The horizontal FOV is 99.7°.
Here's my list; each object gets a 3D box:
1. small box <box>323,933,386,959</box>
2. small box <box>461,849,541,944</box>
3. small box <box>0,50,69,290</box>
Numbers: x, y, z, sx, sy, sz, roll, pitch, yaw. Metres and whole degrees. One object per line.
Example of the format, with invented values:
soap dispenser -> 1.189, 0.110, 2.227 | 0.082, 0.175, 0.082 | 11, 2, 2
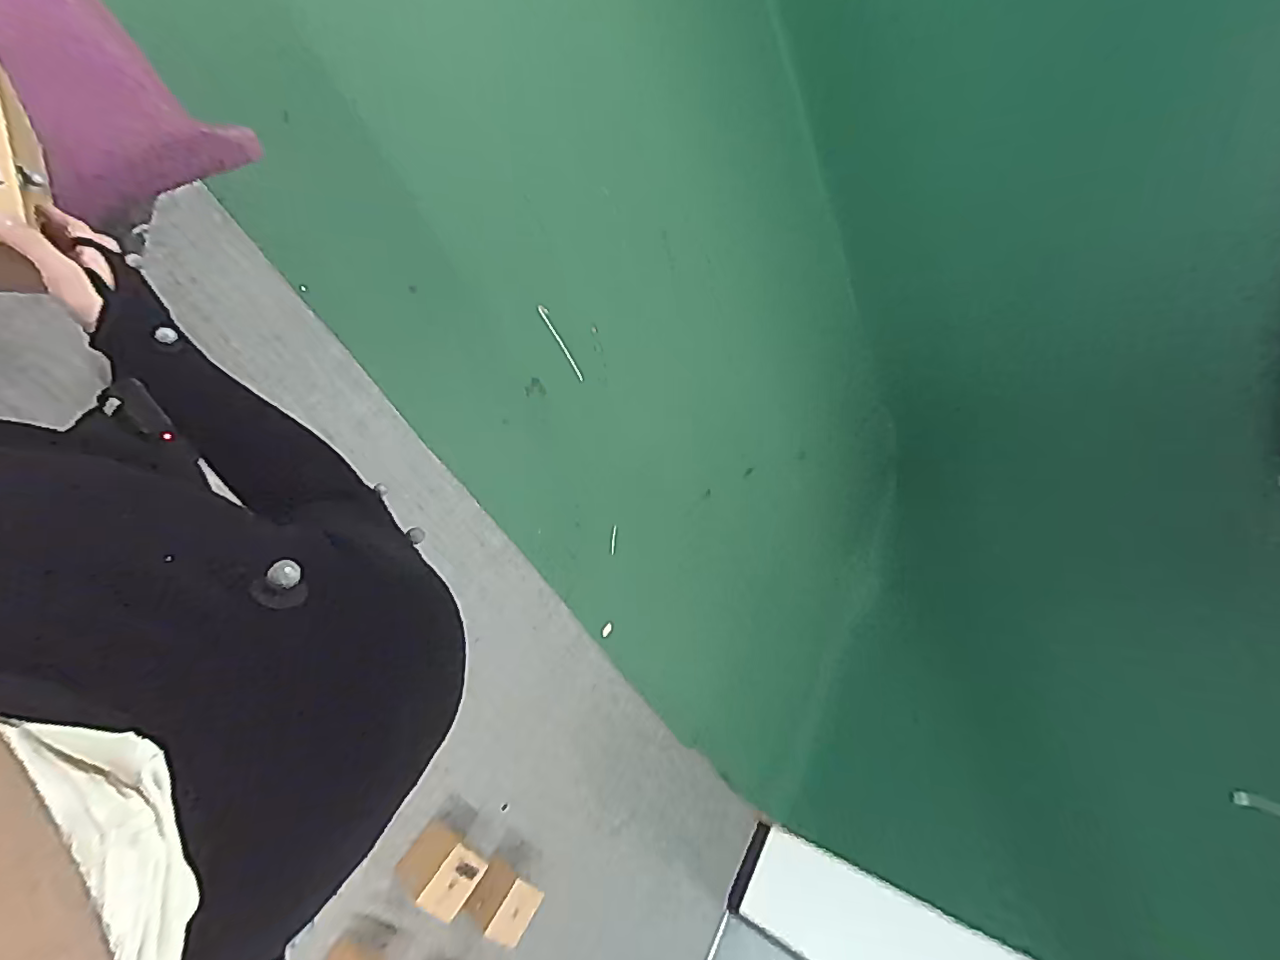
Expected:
small box -> -0.813, 1.419, 1.502 | 0.179, 0.176, 0.168 | -53, 126, -29
small box -> -0.481, 1.413, 1.842 | 0.179, 0.176, 0.168 | -52, 127, -31
small box -> -0.633, -0.269, 0.455 | 0.179, 0.176, 0.168 | -9, 96, -38
